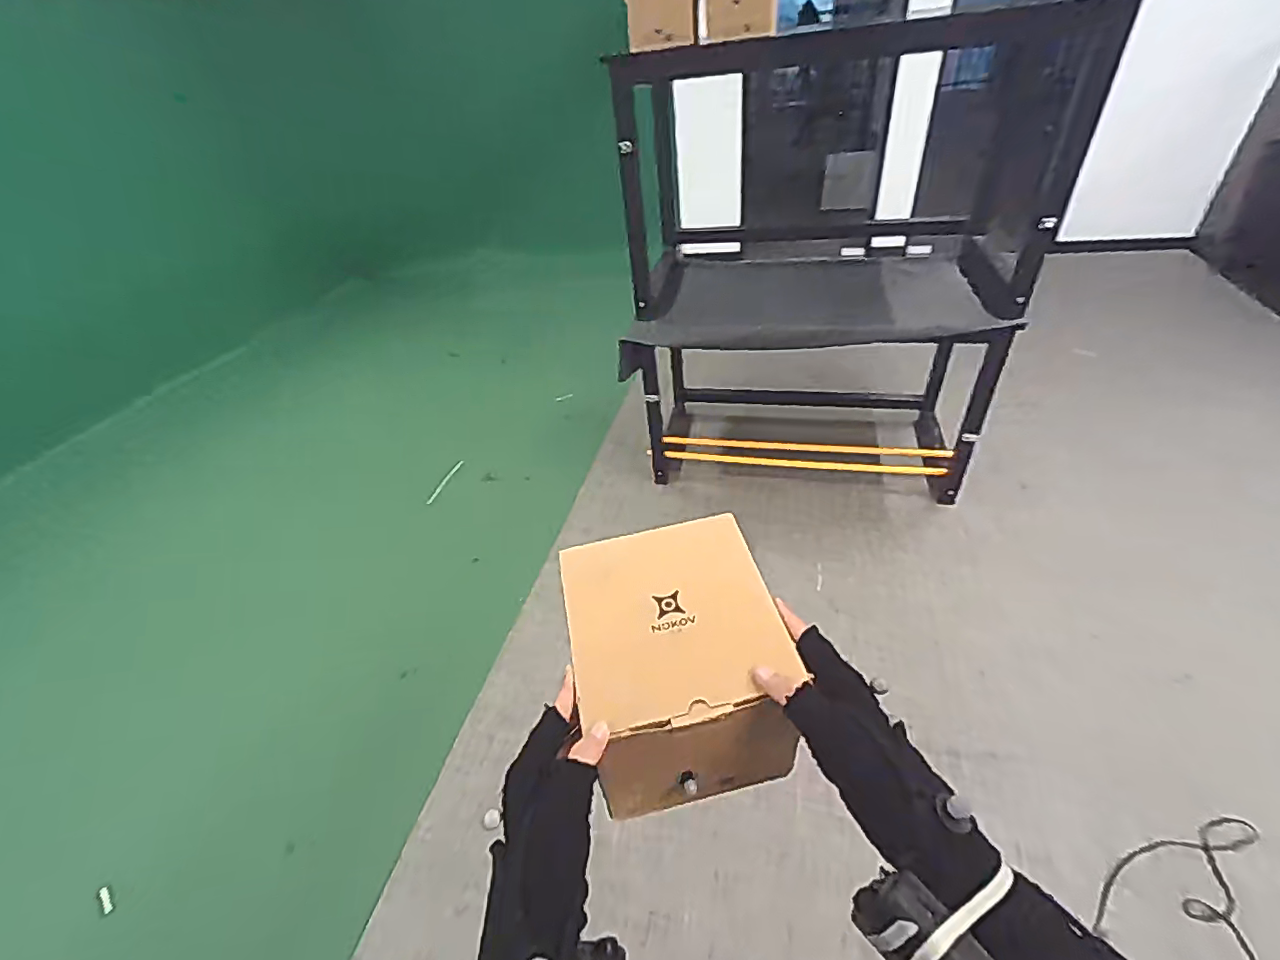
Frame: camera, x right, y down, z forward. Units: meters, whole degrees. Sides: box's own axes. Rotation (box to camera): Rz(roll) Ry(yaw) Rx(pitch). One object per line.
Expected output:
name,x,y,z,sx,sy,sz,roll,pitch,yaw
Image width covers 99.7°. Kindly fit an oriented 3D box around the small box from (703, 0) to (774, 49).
small box,0.255,-1.219,1.383,0.168,0.176,0.179,5,41,14
